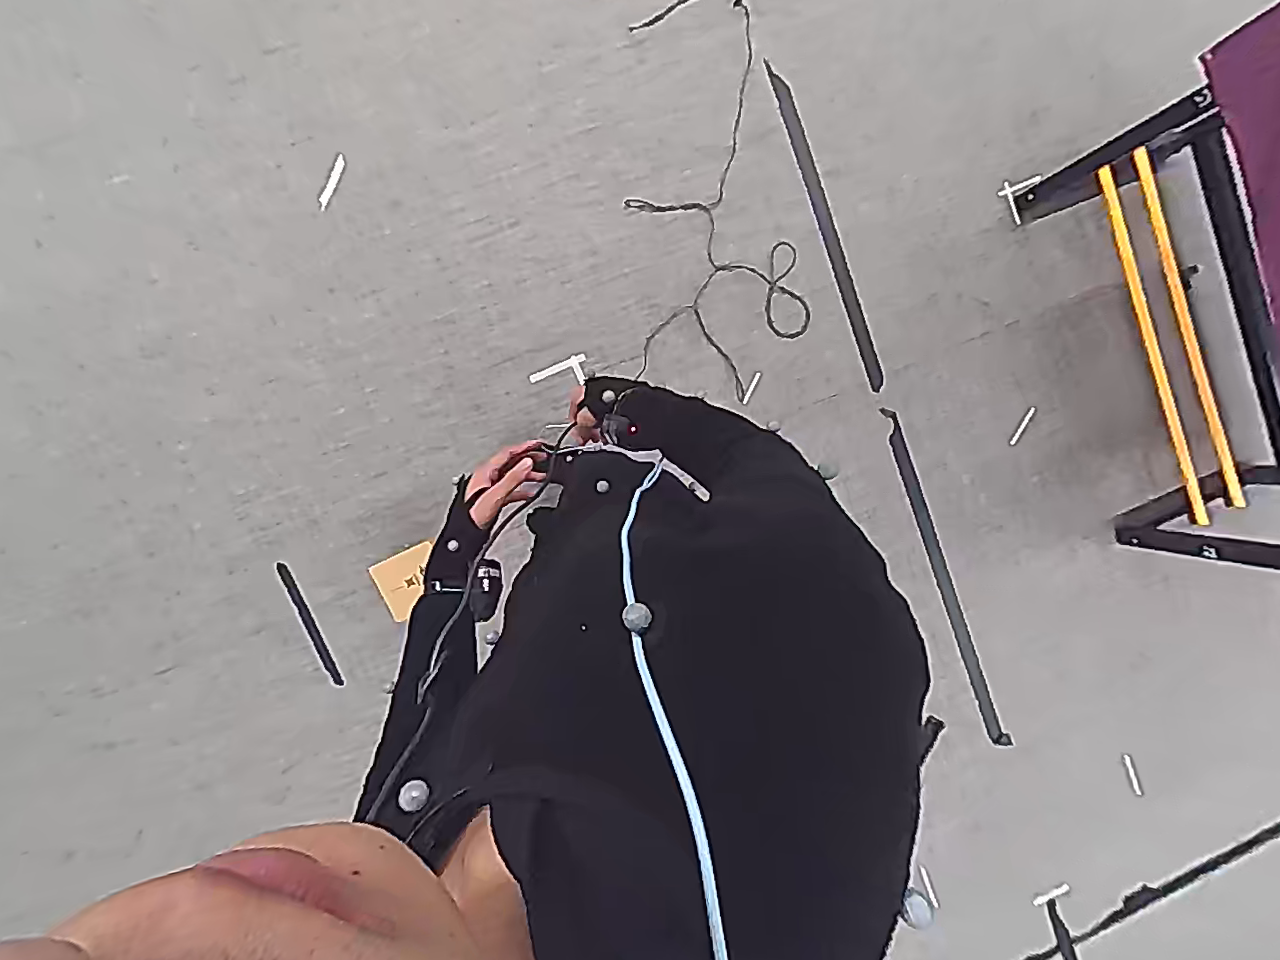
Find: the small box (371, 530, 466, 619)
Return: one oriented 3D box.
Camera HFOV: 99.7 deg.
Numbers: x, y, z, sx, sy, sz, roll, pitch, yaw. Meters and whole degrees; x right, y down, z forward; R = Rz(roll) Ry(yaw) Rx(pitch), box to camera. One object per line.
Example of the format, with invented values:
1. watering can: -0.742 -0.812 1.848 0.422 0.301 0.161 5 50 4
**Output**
1. small box: -0.598 0.252 1.493 0.179 0.176 0.168 -25 95 -3
